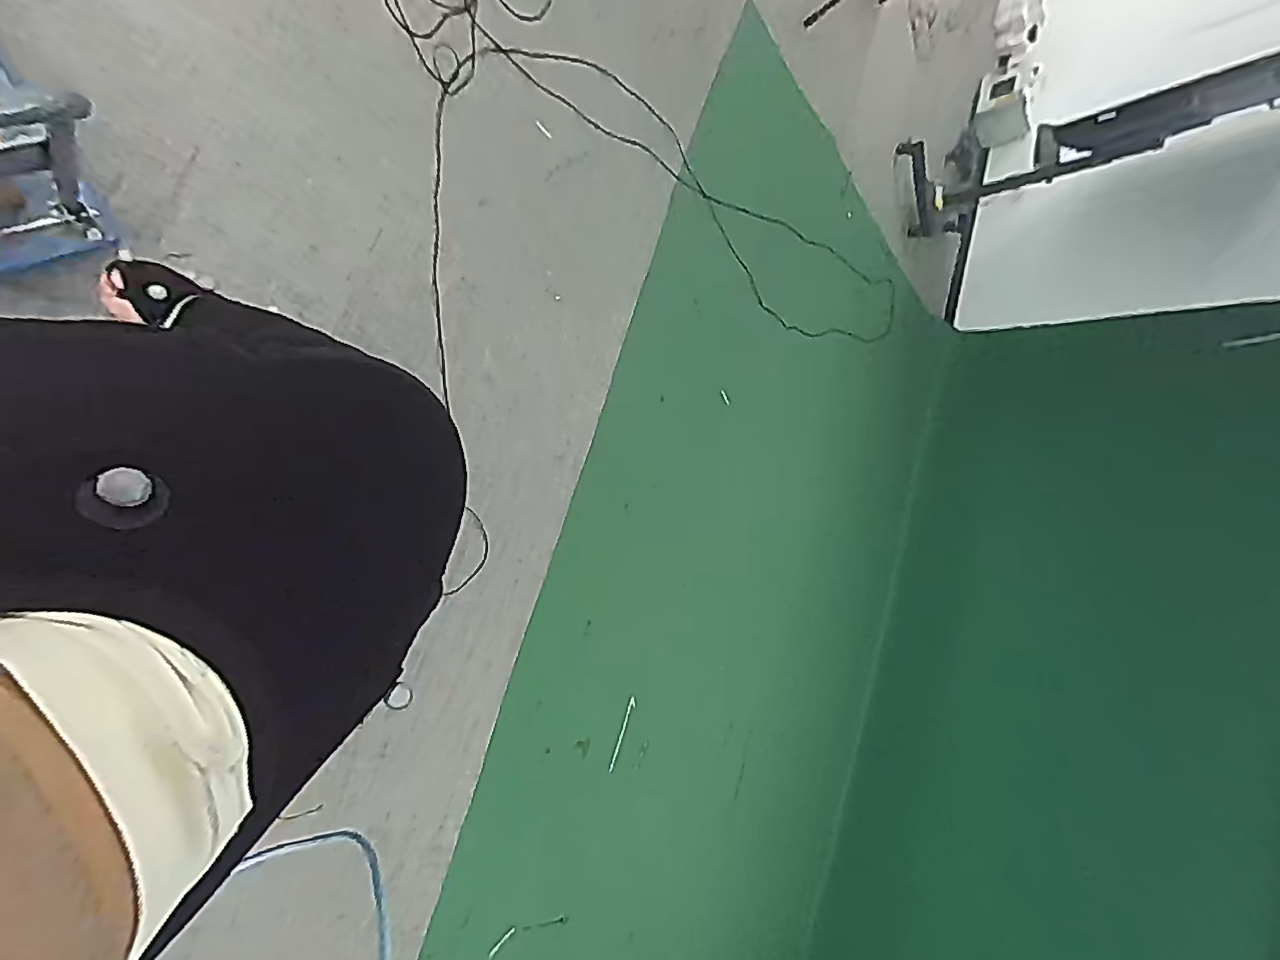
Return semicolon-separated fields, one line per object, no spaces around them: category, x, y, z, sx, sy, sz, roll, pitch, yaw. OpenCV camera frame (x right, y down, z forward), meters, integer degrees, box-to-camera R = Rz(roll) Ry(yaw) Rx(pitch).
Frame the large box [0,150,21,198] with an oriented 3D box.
large box;-1.180;-0.587;0.704;0.320;0.320;0.408;-40;119;-34
